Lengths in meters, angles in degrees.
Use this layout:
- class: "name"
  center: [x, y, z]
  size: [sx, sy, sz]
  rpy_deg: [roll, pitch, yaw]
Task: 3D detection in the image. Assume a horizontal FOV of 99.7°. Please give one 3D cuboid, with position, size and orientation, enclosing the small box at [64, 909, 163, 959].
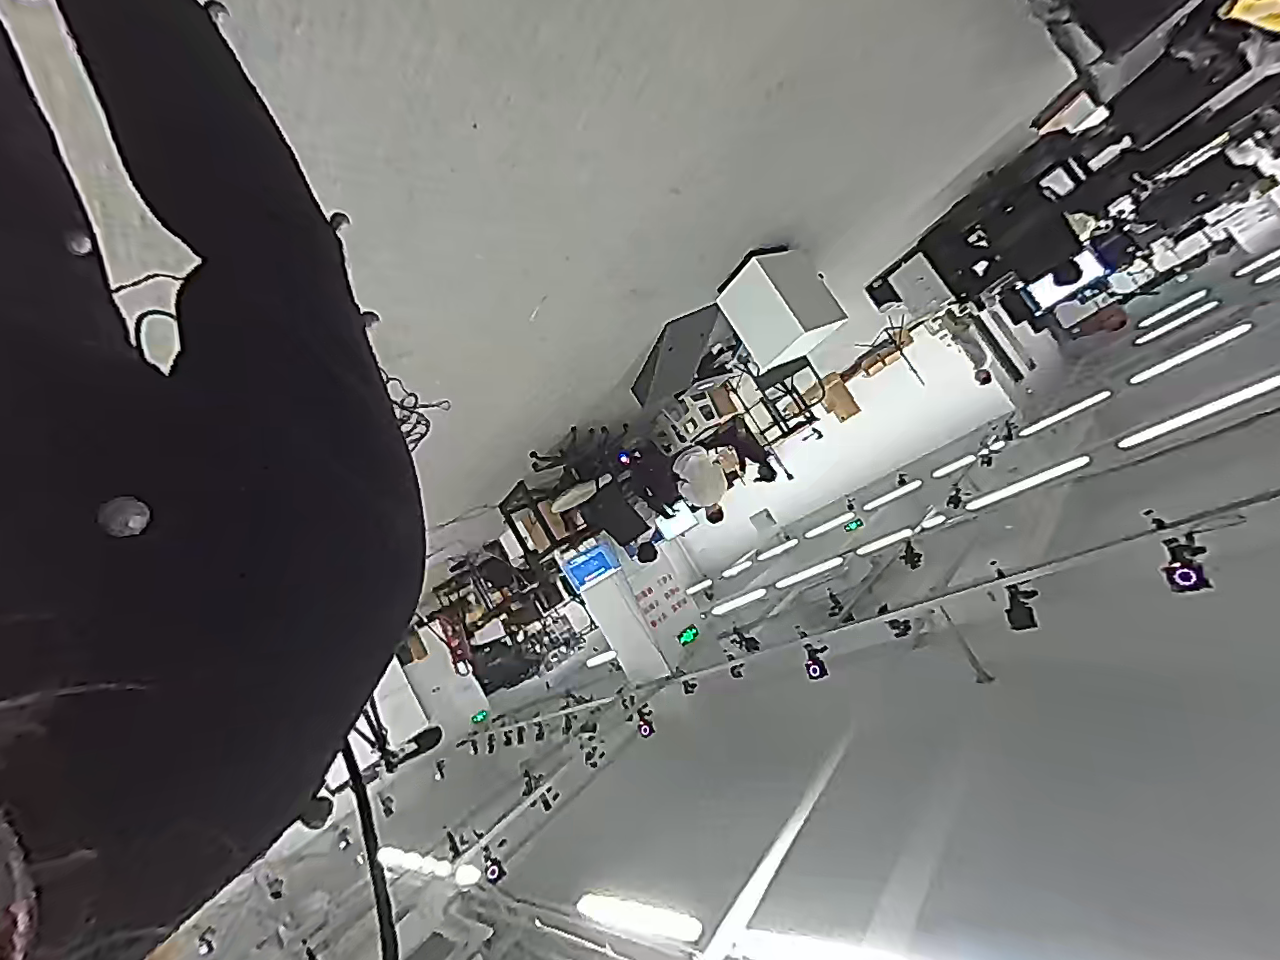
- class: "small box"
  center: [-1.598, 1.449, 1.637]
  size: [0.179, 0.176, 0.168]
  rpy_deg: [-37, 170, 32]
